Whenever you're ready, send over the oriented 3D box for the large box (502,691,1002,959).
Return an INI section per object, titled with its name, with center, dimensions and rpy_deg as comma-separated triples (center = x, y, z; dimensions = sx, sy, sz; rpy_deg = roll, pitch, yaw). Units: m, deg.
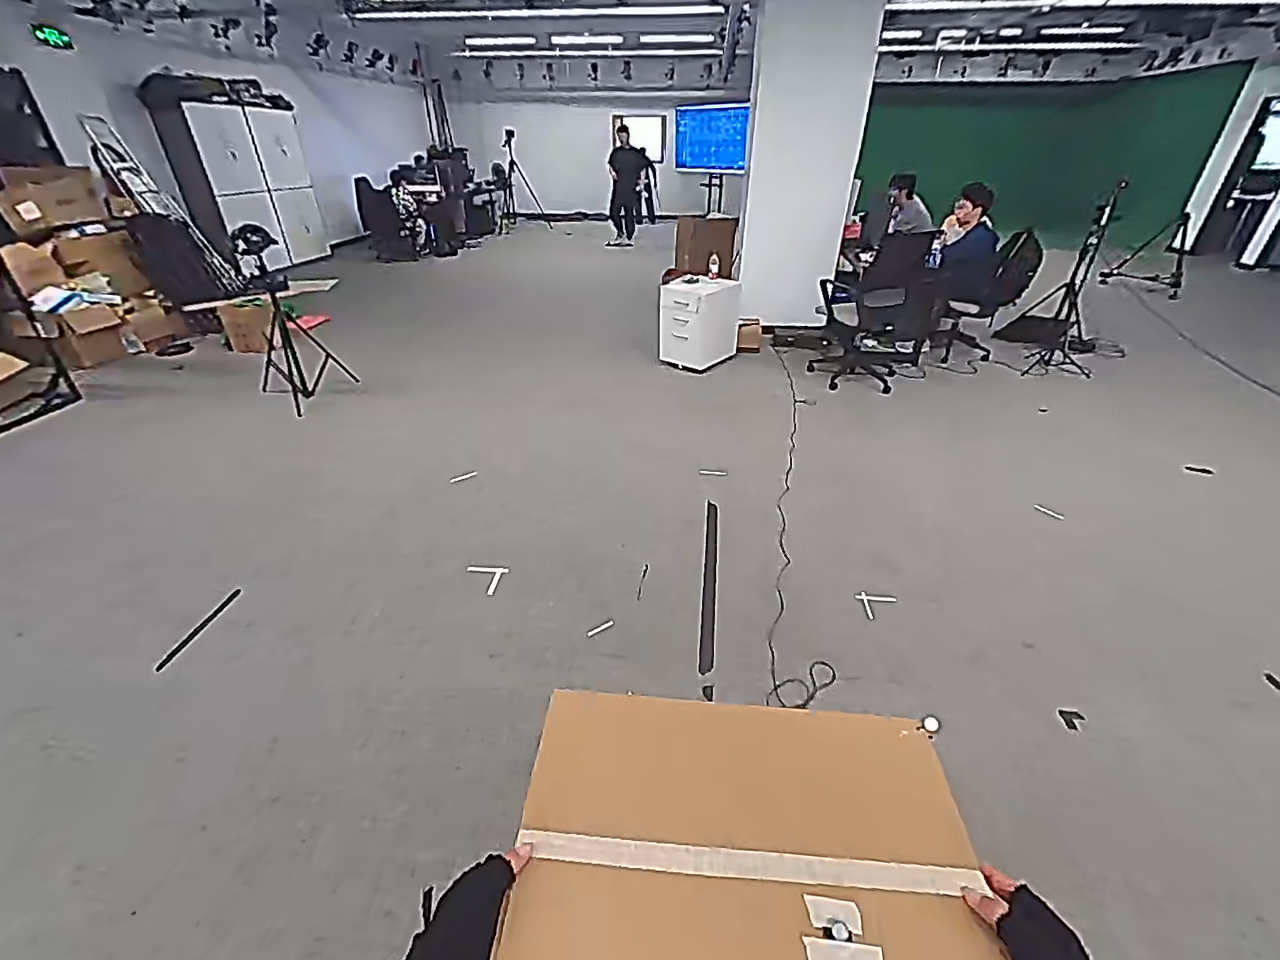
[large box]
center = 0.089, 0.461, 0.567
dimensions = 0.408, 0.320, 0.320
rpy_deg = 4, 35, 3
